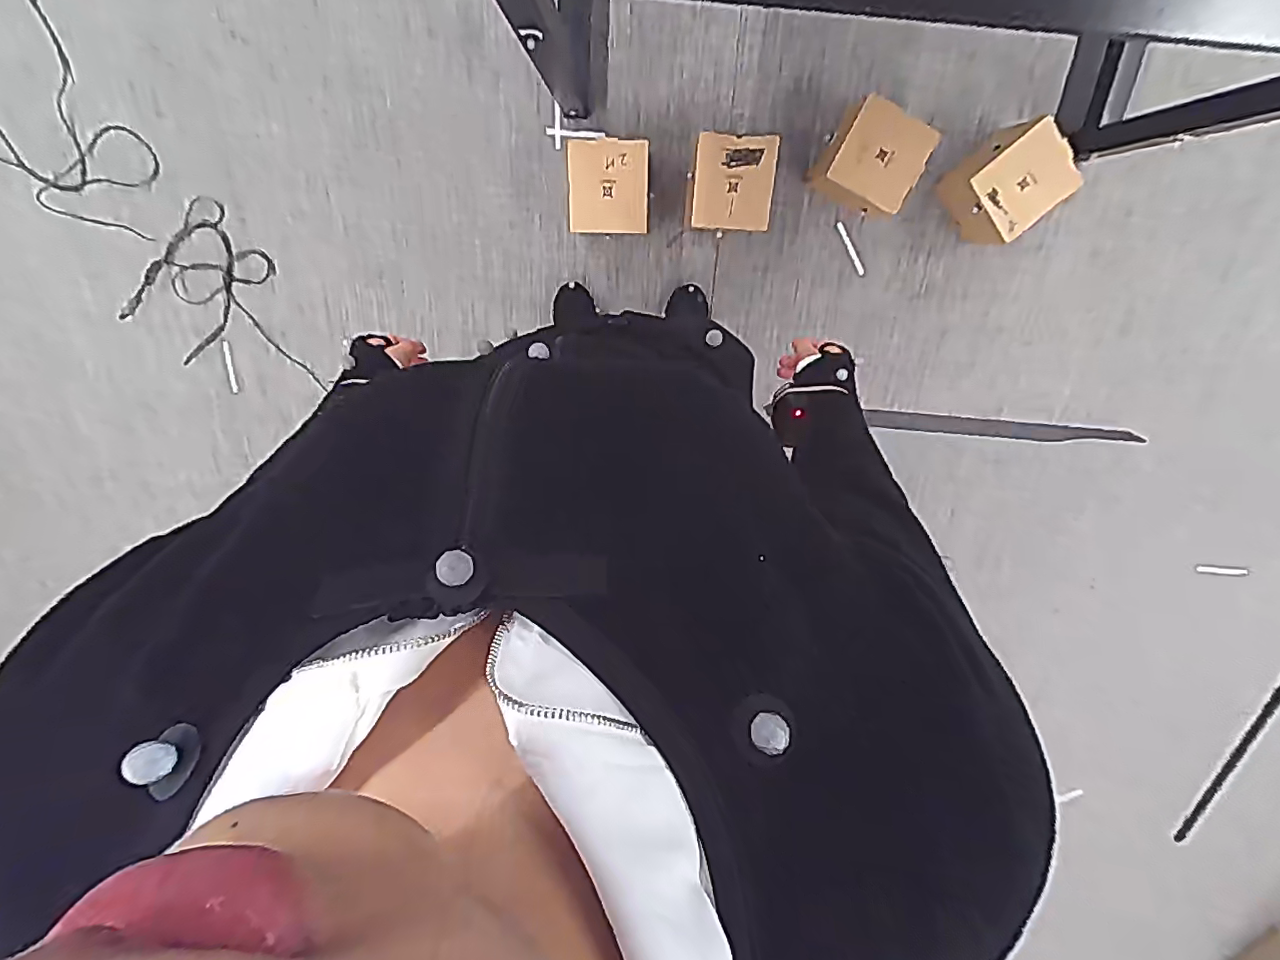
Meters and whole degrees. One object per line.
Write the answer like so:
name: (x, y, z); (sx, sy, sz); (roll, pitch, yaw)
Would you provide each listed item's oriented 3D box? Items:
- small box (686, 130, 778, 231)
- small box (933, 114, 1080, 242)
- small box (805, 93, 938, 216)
small box: (0.193, -0.651, 1.193); (0.168, 0.176, 0.179); (3, 114, 0)
small box: (0.791, -0.649, 1.185); (0.179, 0.176, 0.168); (-40, 107, 16)
small box: (0.491, -0.692, 1.173); (0.179, 0.176, 0.168); (24, 111, -8)
